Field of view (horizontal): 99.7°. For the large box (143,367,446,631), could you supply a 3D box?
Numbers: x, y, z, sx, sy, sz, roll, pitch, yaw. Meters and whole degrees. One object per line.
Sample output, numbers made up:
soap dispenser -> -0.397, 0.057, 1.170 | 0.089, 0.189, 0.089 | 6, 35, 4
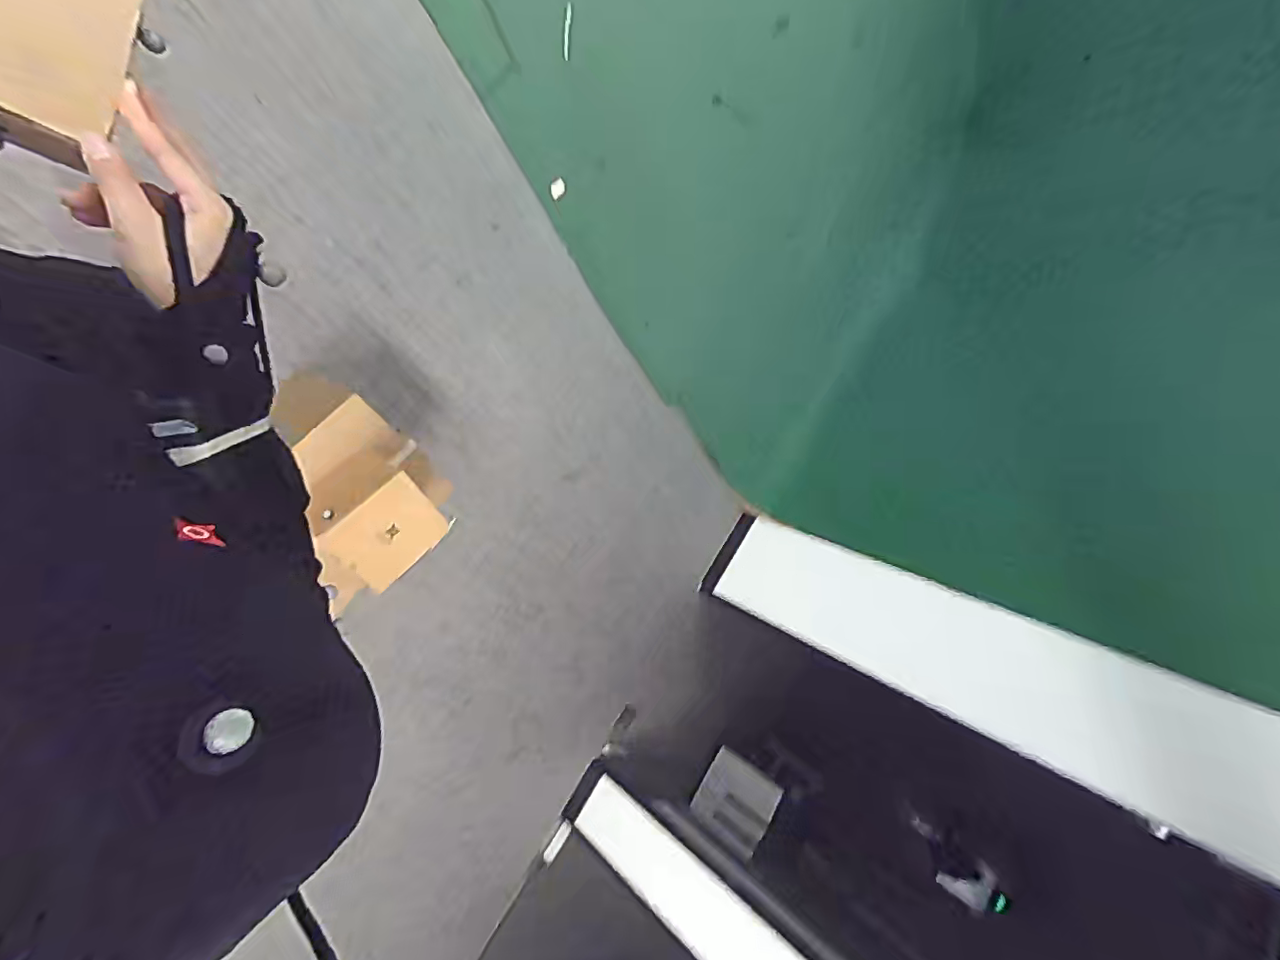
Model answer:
large box -> -0.713, 0.027, 1.148 | 0.408, 0.320, 0.320 | -51, 137, -19

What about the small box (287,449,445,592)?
small box -> -0.512, 0.067, 1.011 | 0.179, 0.176, 0.168 | -47, 137, -24

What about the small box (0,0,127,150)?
small box -> -0.390, -0.306, 0.286 | 0.168, 0.176, 0.179 | 11, 99, -52
